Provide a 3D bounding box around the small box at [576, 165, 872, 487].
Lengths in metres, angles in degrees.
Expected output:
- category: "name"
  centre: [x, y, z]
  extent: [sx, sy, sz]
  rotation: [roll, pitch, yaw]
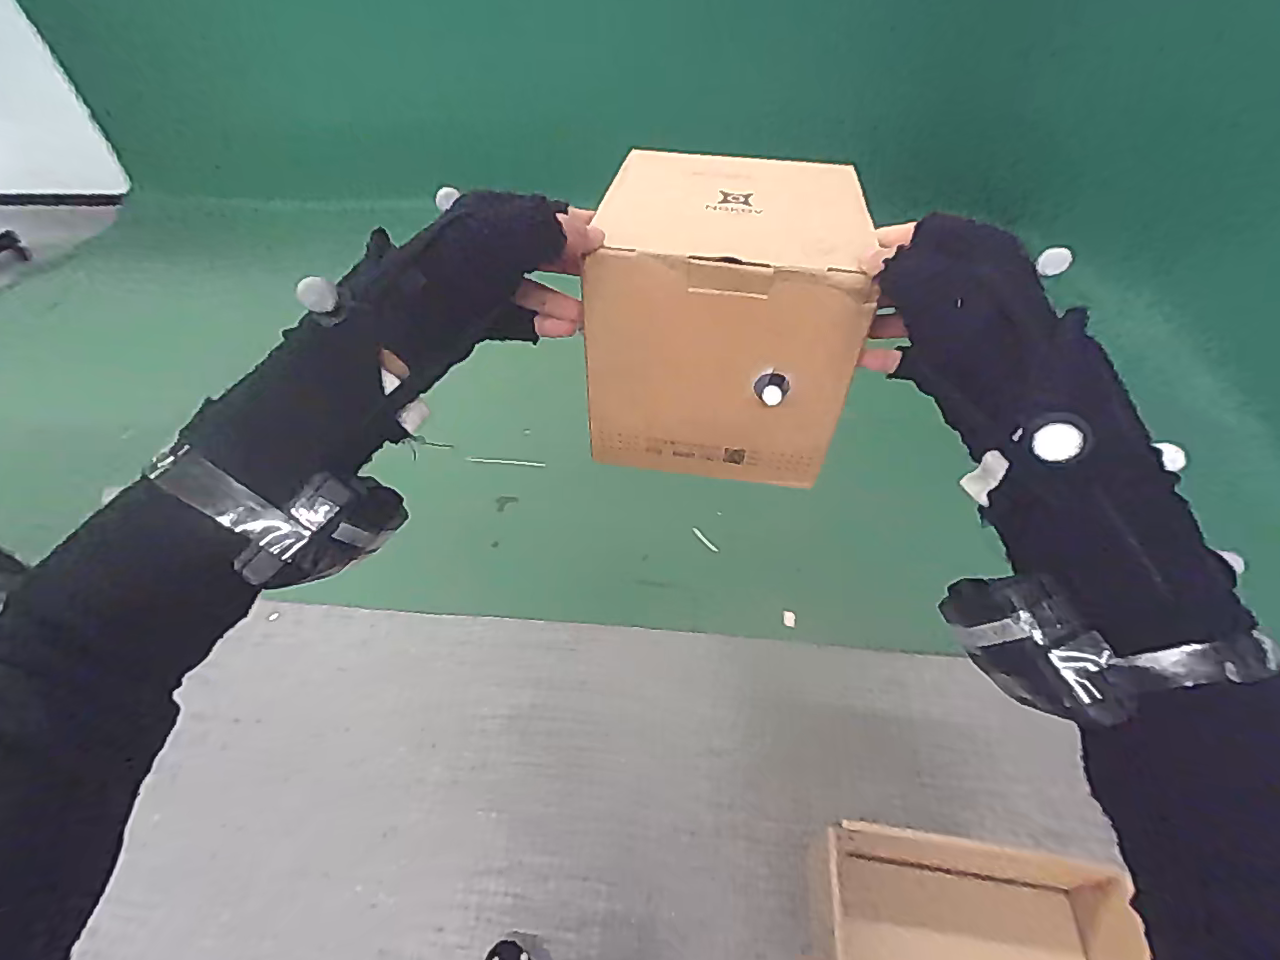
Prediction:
- category: "small box"
  centre: [0.055, -0.115, 0.408]
  extent: [0.168, 0.176, 0.179]
  rotation: [7, 46, 4]
